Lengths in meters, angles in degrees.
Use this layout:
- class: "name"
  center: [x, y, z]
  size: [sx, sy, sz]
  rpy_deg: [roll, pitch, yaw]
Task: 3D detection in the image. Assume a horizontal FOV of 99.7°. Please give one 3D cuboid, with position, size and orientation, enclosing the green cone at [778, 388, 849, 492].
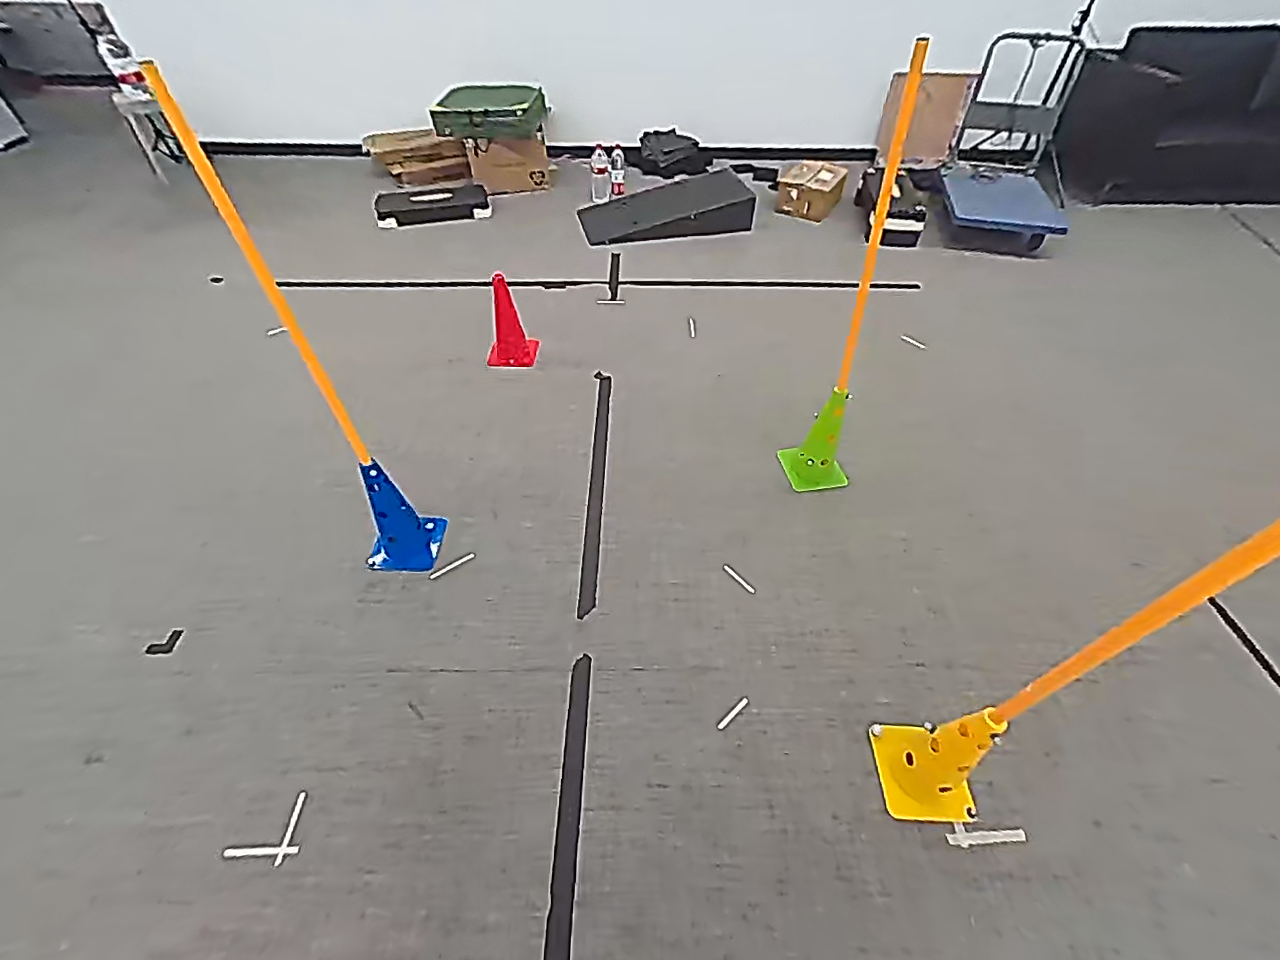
- class: "green cone"
  center: [0.610, -0.155, 1.783]
  size: [0.200, 0.368, 0.202]
  rpy_deg: [-7, 50, -7]

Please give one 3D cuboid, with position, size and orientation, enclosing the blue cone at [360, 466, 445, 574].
- class: "blue cone"
  center: [-0.712, 0.094, 1.550]
  size: [0.193, 0.380, 0.192]
  rpy_deg: [2, 48, 2]
